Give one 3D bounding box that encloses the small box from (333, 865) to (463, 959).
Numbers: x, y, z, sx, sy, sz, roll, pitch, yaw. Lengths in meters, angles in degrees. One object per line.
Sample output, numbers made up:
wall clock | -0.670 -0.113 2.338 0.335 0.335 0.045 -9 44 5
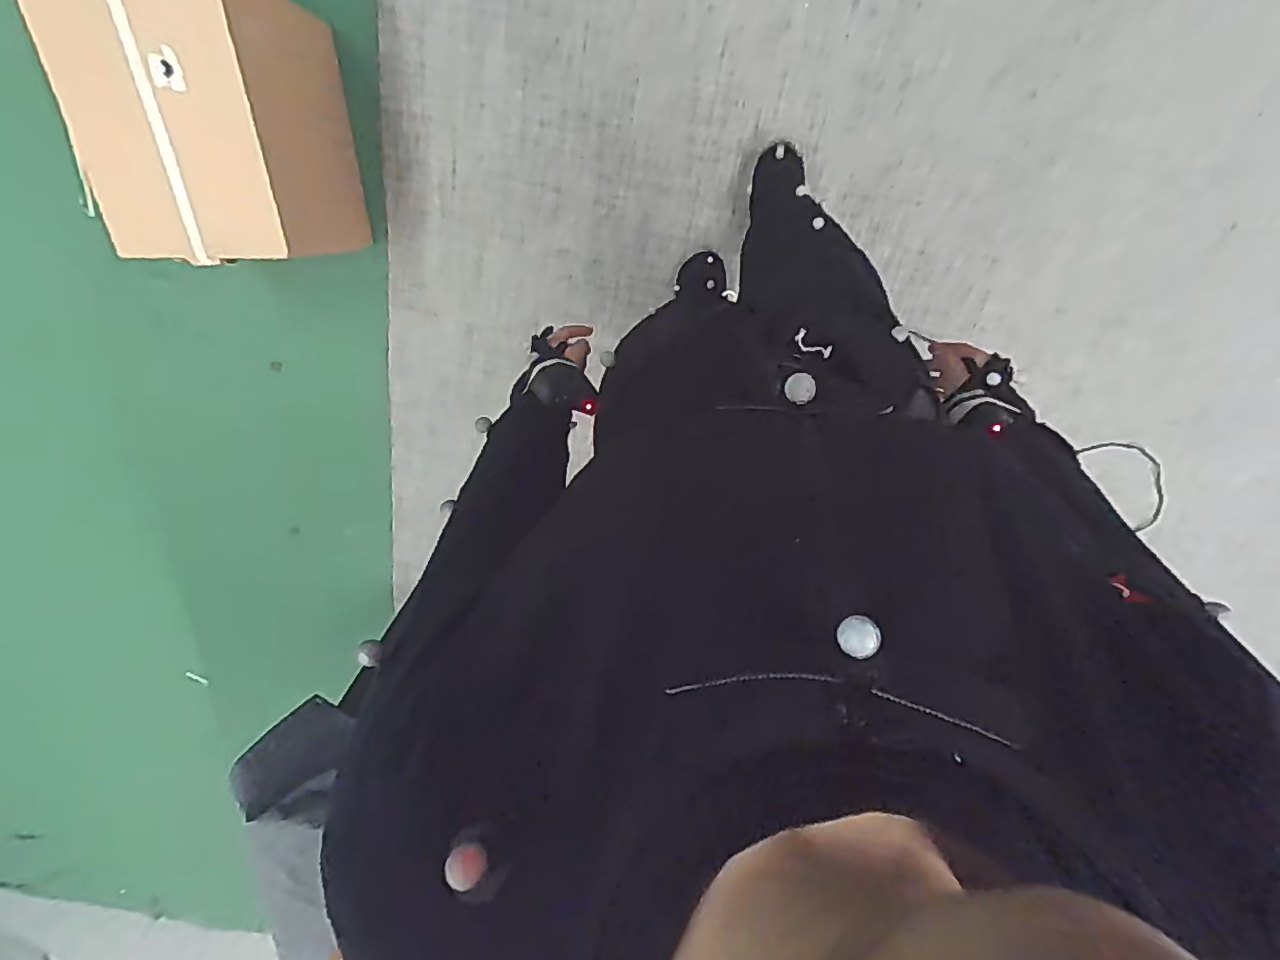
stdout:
small box | -0.435 0.837 0.978 0.179 0.176 0.168 13 117 -3
